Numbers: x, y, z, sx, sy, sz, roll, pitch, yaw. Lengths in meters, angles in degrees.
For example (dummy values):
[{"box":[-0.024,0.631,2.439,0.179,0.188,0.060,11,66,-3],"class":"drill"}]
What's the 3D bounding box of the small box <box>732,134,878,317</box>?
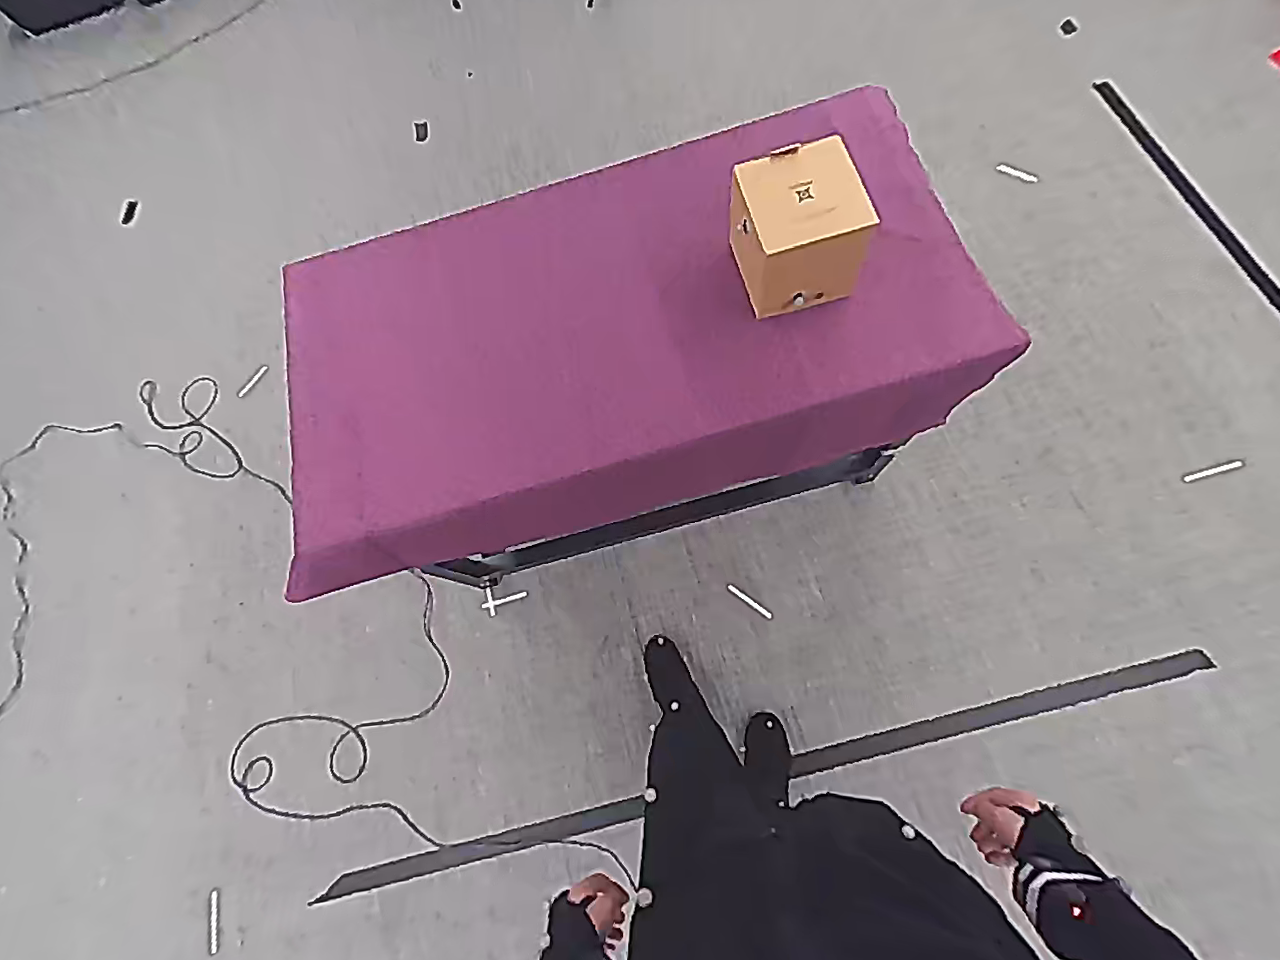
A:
[{"box":[0.245,-0.392,0.854,0.168,0.176,0.179,-14,71,4],"class":"small box"}]
